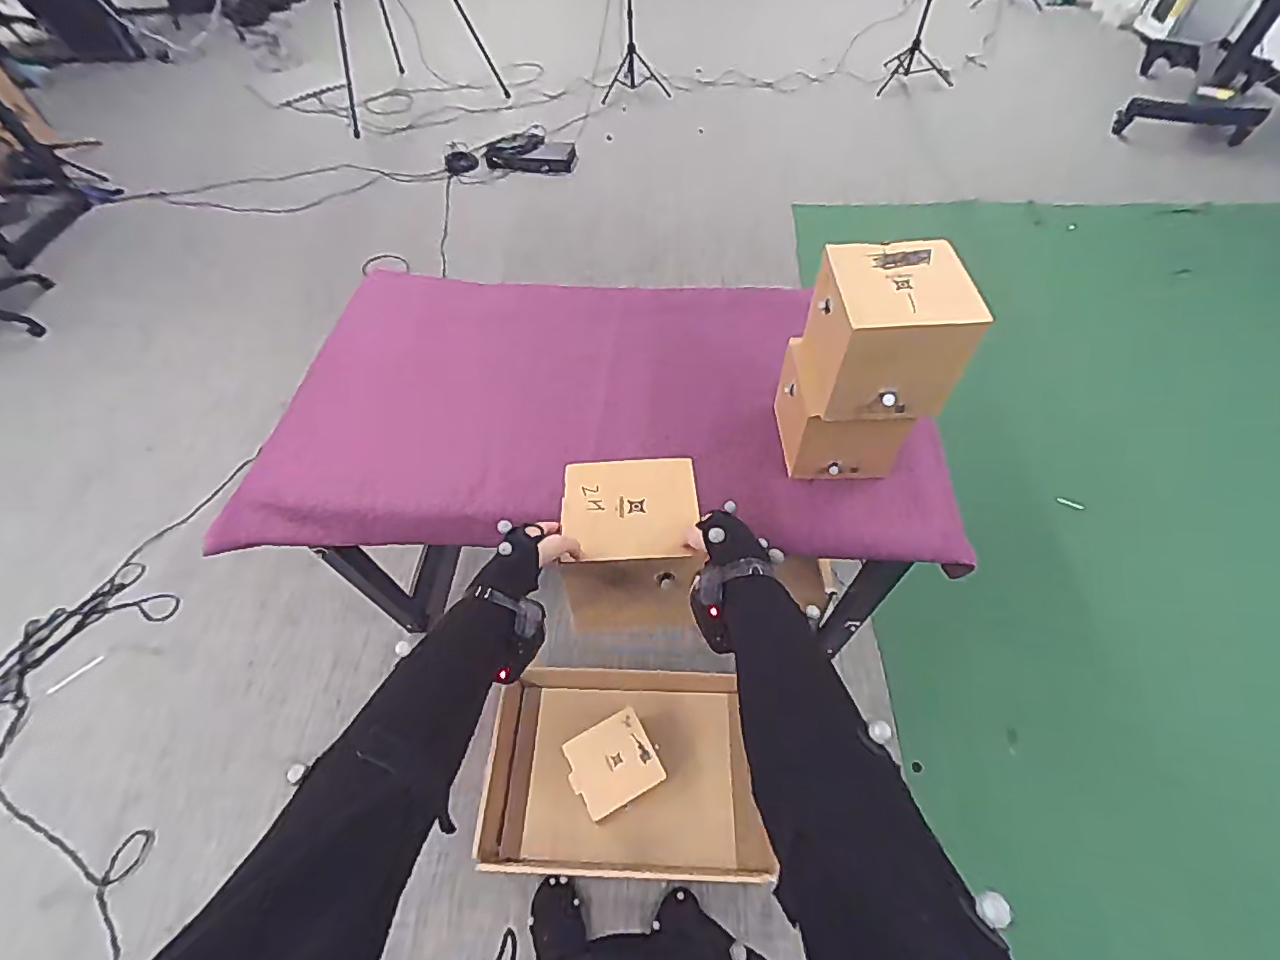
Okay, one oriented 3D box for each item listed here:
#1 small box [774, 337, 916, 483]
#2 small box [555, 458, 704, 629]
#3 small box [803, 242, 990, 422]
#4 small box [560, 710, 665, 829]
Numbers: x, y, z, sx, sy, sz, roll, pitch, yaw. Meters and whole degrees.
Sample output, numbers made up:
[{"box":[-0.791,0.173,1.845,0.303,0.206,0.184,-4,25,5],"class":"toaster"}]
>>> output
[{"box":[0.322,-0.114,0.884,0.168,0.176,0.179,-2,54,3],"class":"small box"},{"box":[-0.011,0.088,0.736,0.179,0.176,0.168,-3,46,1],"class":"small box"},{"box":[0.330,-0.200,0.743,0.168,0.176,0.179,-2,54,3],"class":"small box"},{"box":[-0.055,0.647,1.199,0.179,0.176,0.168,-25,57,-13],"class":"small box"}]
